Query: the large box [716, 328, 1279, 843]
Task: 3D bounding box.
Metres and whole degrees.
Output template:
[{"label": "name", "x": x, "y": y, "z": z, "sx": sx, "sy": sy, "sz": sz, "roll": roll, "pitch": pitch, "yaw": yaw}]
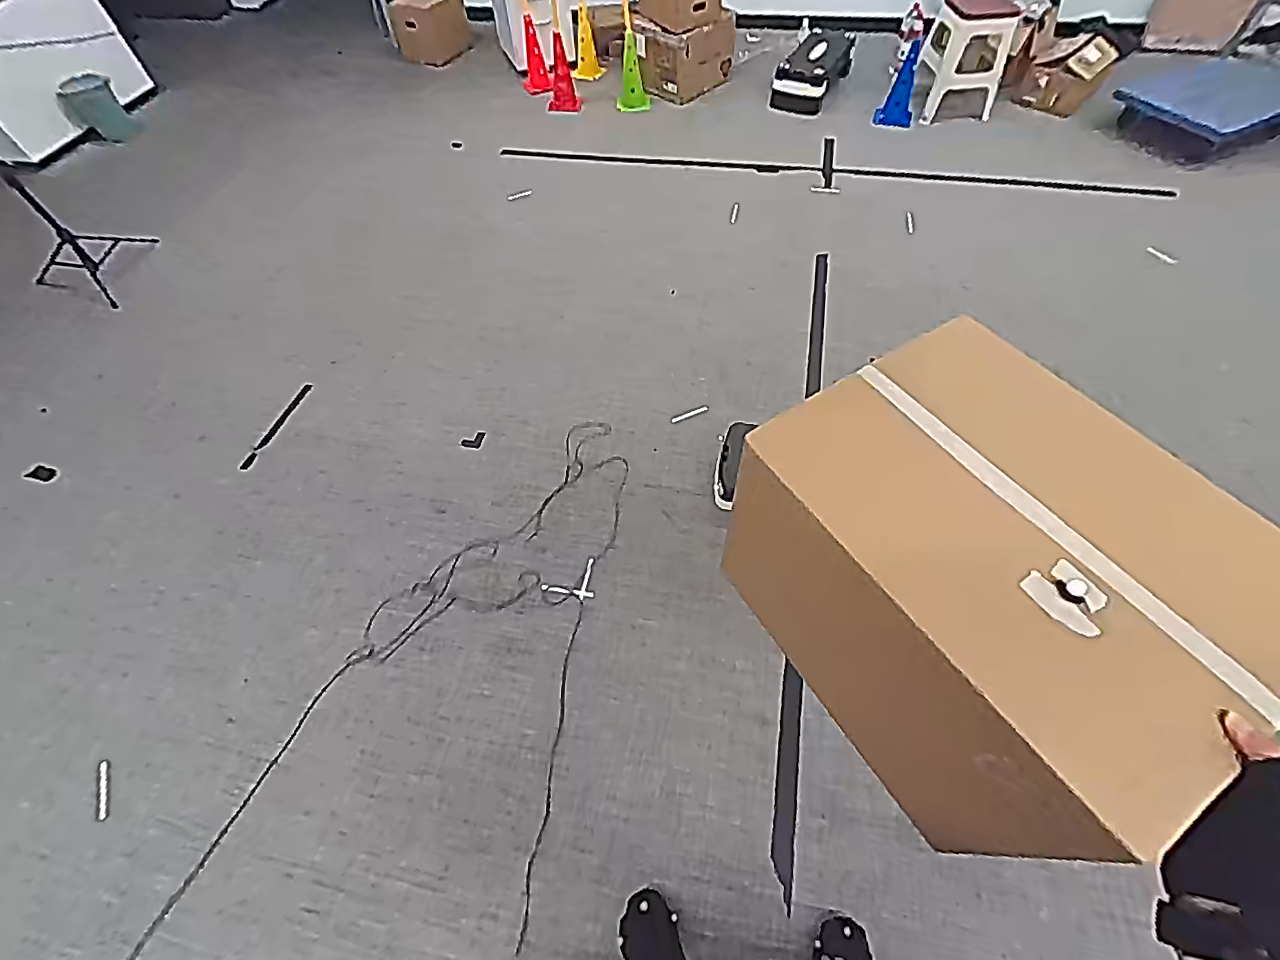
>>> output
[{"label": "large box", "x": 0.335, "y": 0.111, "z": 0.609, "sx": 0.320, "sy": 0.320, "sz": 0.408, "roll": -30, "pitch": 61, "yaw": -15}]
